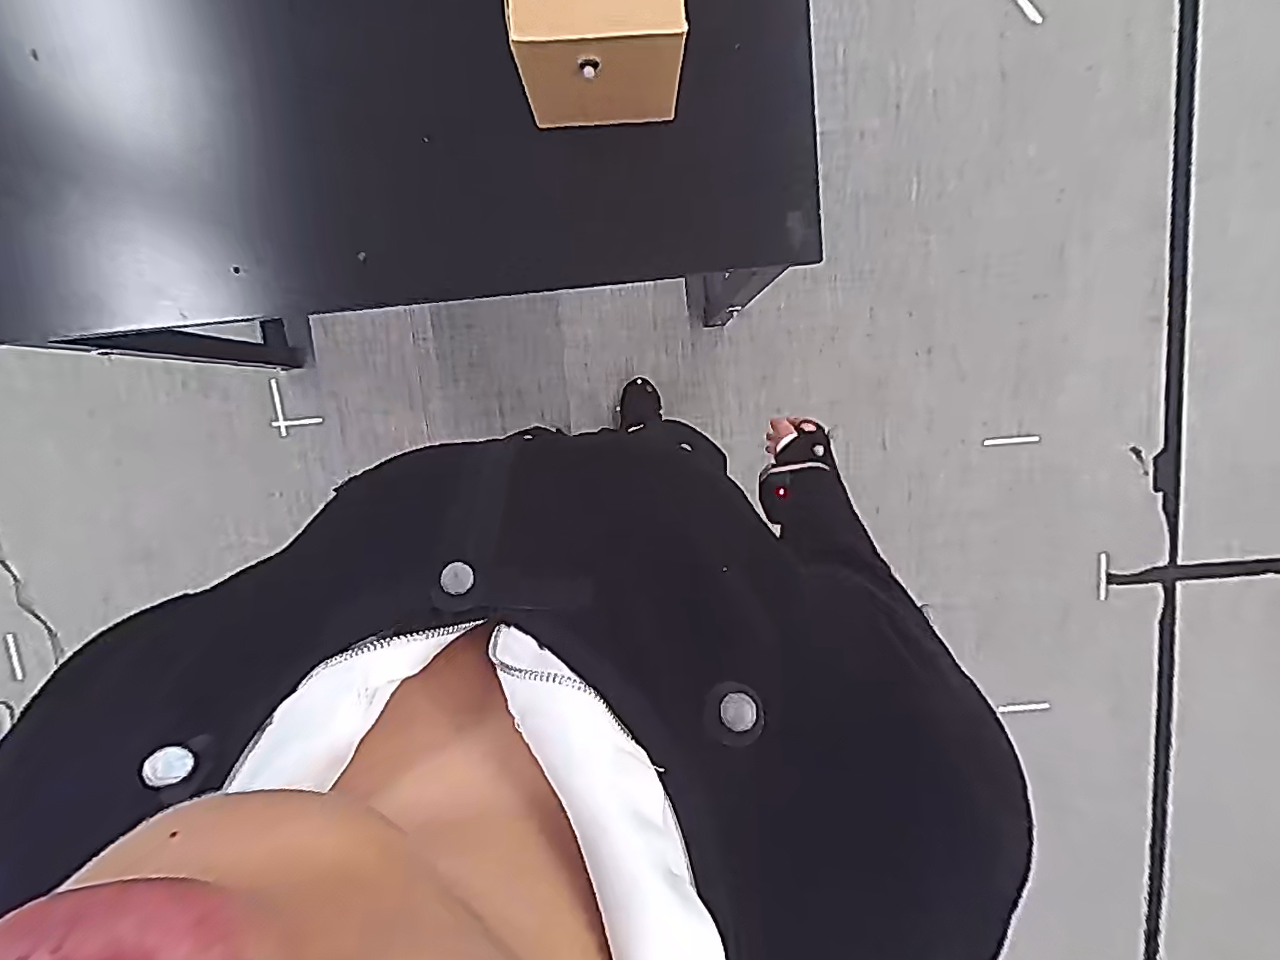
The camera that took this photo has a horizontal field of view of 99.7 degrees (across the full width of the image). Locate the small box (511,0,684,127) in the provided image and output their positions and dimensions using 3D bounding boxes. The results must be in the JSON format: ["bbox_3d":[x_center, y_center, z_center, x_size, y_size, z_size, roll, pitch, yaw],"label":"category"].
[{"bbox_3d":[-0.045,-0.529,0.614,0.179,0.176,0.168,-3,98,-1],"label":"small box"}]
